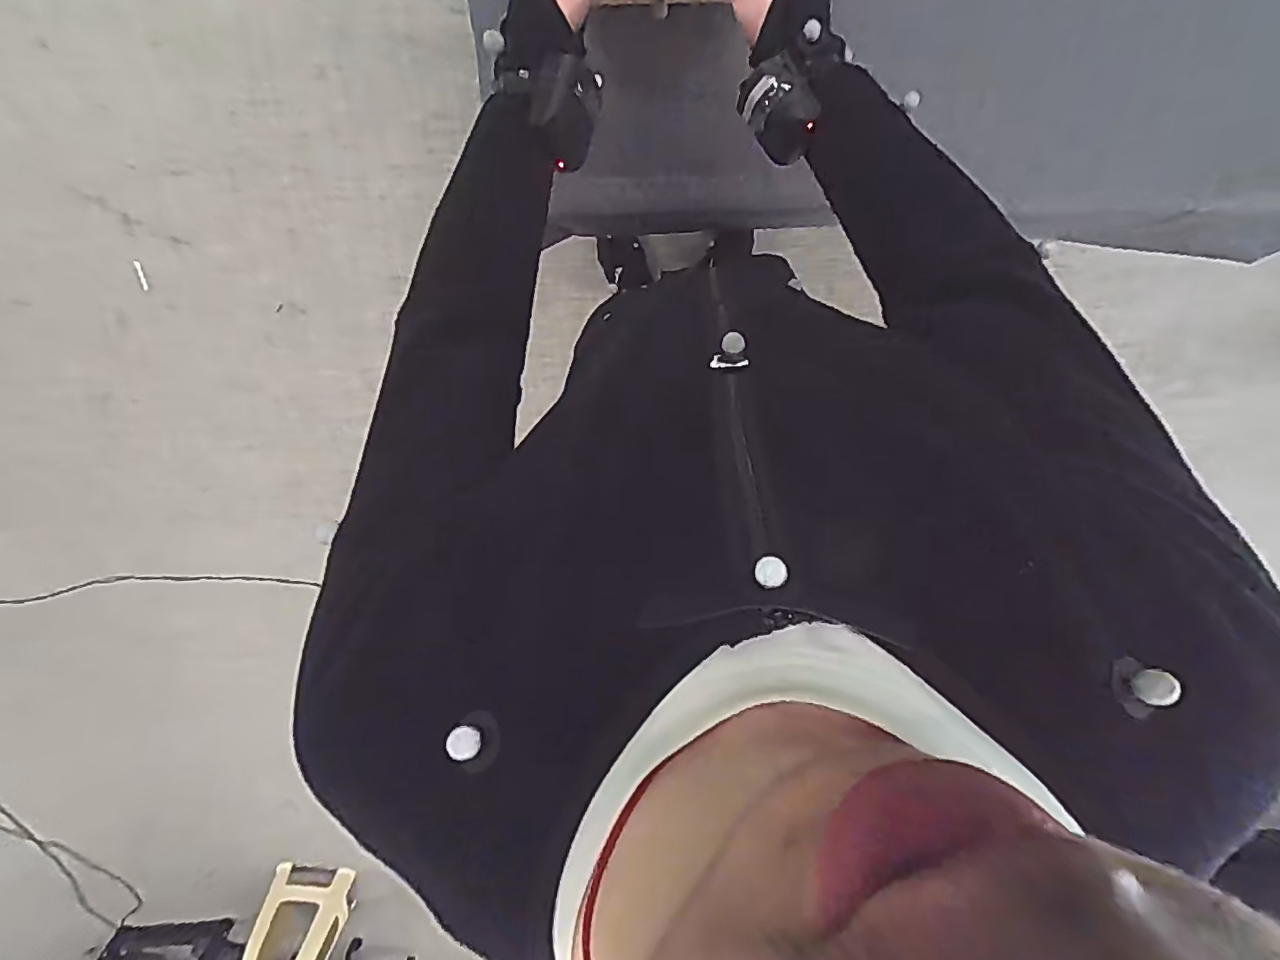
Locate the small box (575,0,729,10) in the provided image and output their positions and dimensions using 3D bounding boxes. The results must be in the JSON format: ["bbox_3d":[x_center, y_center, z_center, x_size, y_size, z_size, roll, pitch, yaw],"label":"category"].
[{"bbox_3d":[0.019,-0.525,0.466,0.179,0.176,0.168,-3,125,-1],"label":"small box"}]
